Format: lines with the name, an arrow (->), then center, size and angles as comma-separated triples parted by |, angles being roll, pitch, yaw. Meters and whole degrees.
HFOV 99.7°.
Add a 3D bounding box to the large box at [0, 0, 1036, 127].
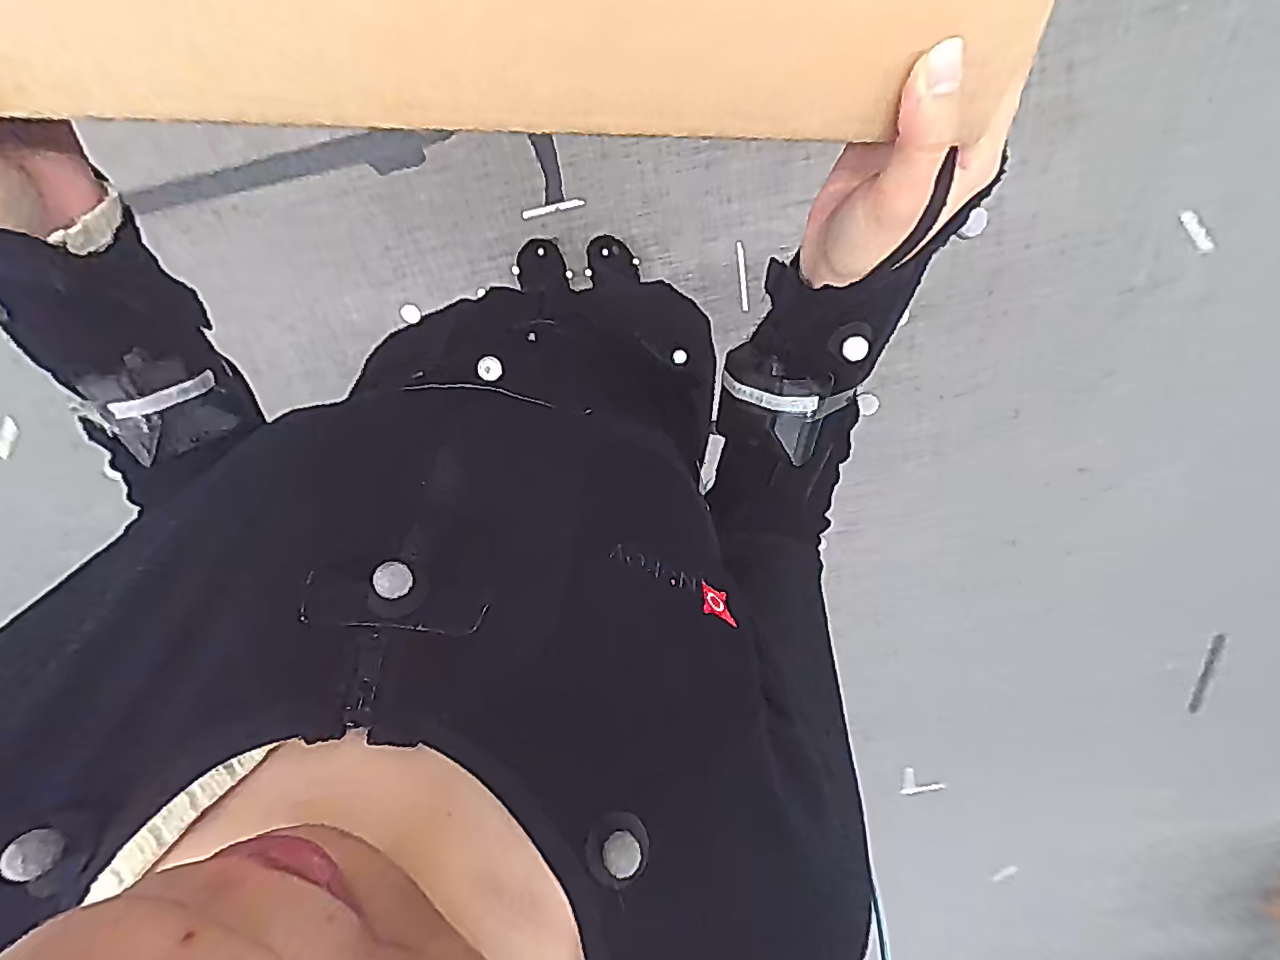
large box -> -0.064, -0.351, 0.184 | 0.408, 0.320, 0.320 | -1, 142, -4
